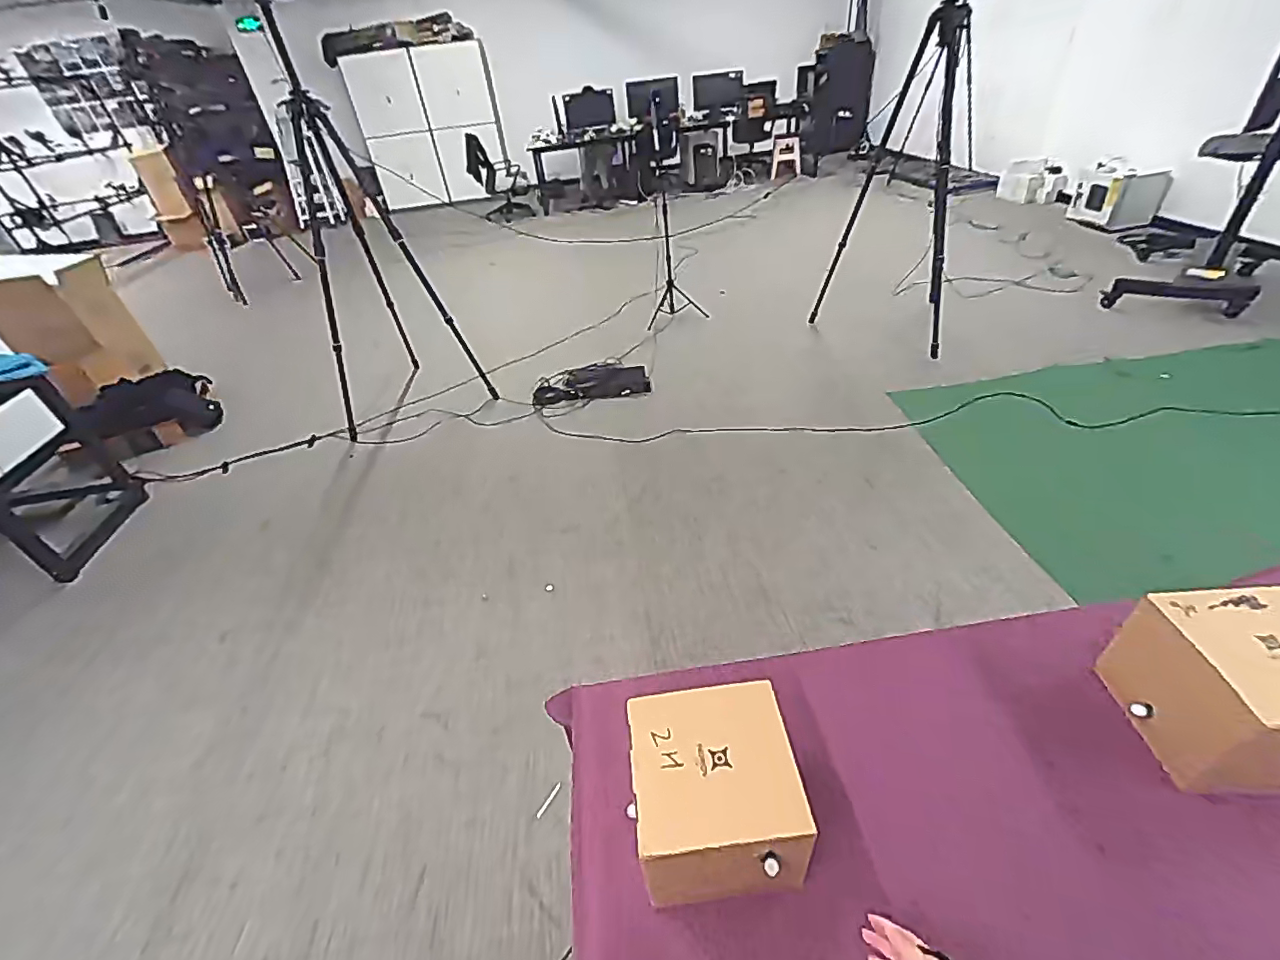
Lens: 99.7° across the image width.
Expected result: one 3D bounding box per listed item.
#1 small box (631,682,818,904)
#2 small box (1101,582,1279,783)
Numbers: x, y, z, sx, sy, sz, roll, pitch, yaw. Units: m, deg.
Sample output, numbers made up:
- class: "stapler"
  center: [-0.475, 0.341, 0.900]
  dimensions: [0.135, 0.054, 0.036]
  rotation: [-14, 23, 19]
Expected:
- class: "small box"
  center: [0.089, 0.363, 0.631]
  dimensions: [0.179, 0.176, 0.168]
  rotation: [-8, 37, 0]
- class: "small box"
  center: [0.722, 0.247, 0.652]
  dimensions: [0.168, 0.176, 0.179]
  rotation: [-4, 39, 5]
